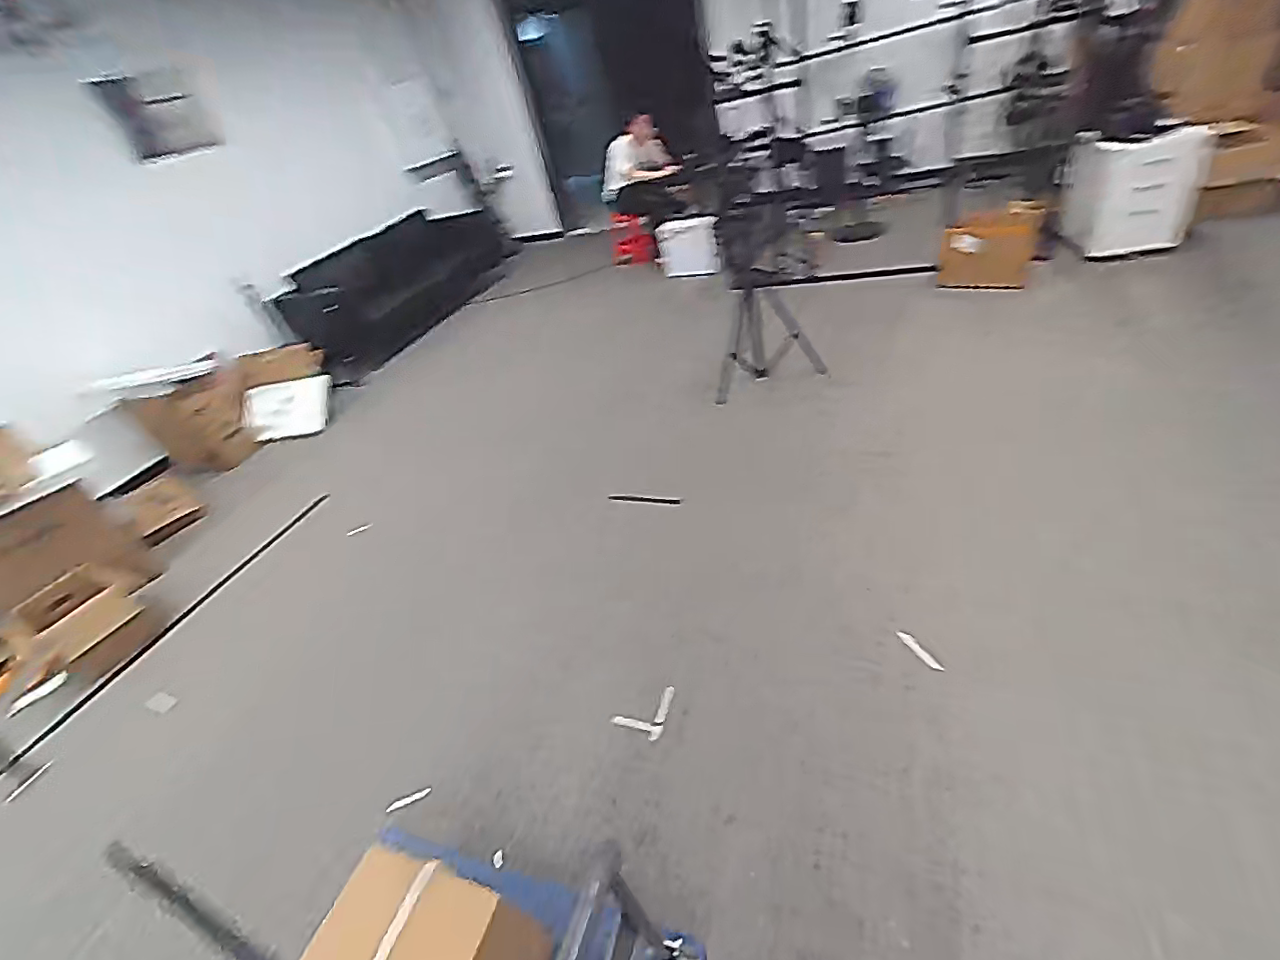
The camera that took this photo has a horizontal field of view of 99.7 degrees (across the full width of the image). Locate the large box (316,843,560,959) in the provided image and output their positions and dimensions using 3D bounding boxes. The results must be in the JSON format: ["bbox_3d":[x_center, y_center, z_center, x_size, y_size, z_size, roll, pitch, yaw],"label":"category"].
[{"bbox_3d":[-0.397,0.964,0.970,0.320,0.320,0.408,2,41,25],"label":"large box"}]
